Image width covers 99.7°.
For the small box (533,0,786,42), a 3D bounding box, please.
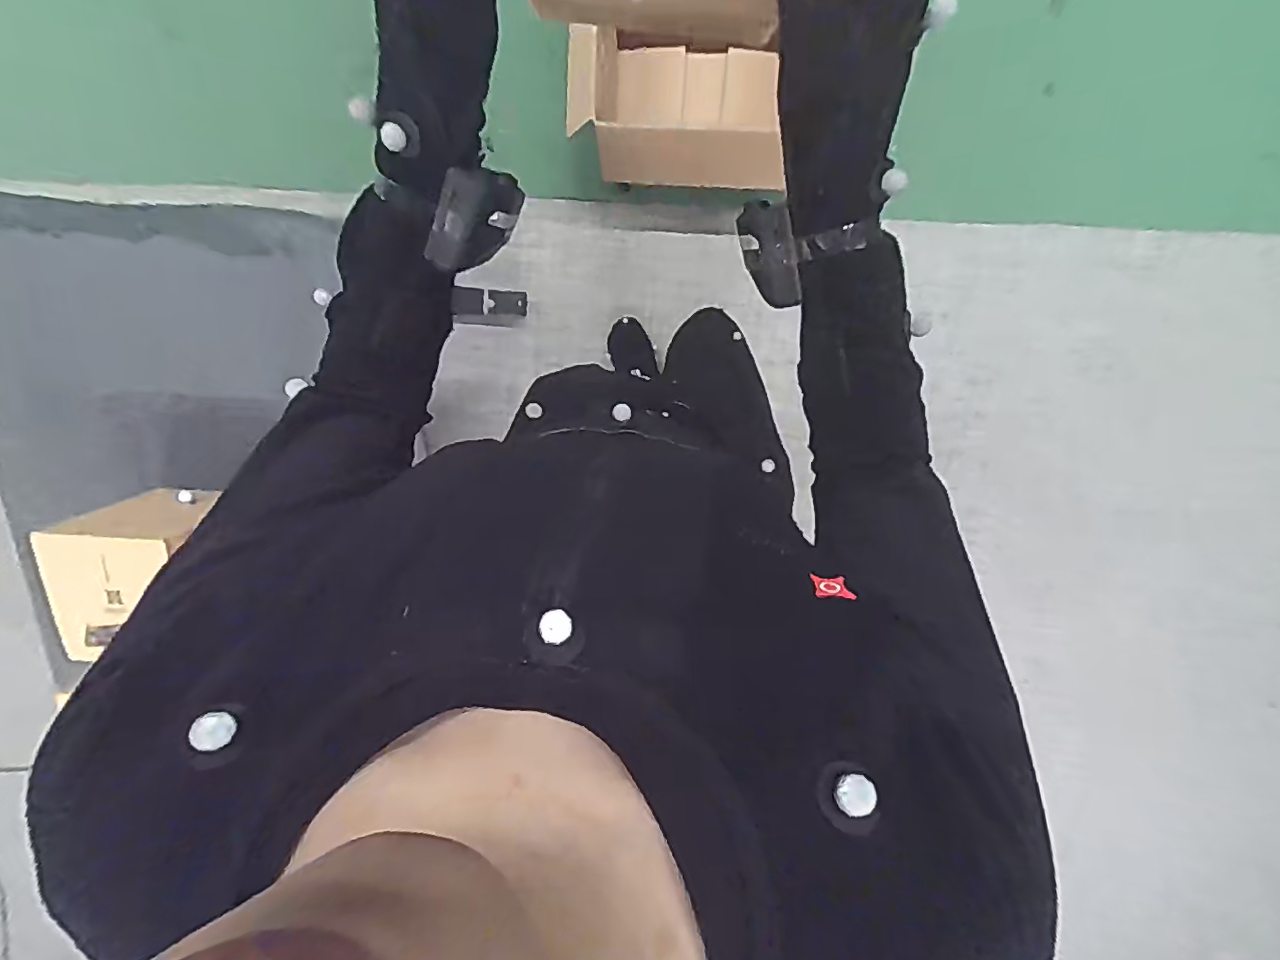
[{"bbox_3d":[0.016,-0.374,0.301,0.179,0.176,0.168,7,116,-1],"label":"small box"}]
